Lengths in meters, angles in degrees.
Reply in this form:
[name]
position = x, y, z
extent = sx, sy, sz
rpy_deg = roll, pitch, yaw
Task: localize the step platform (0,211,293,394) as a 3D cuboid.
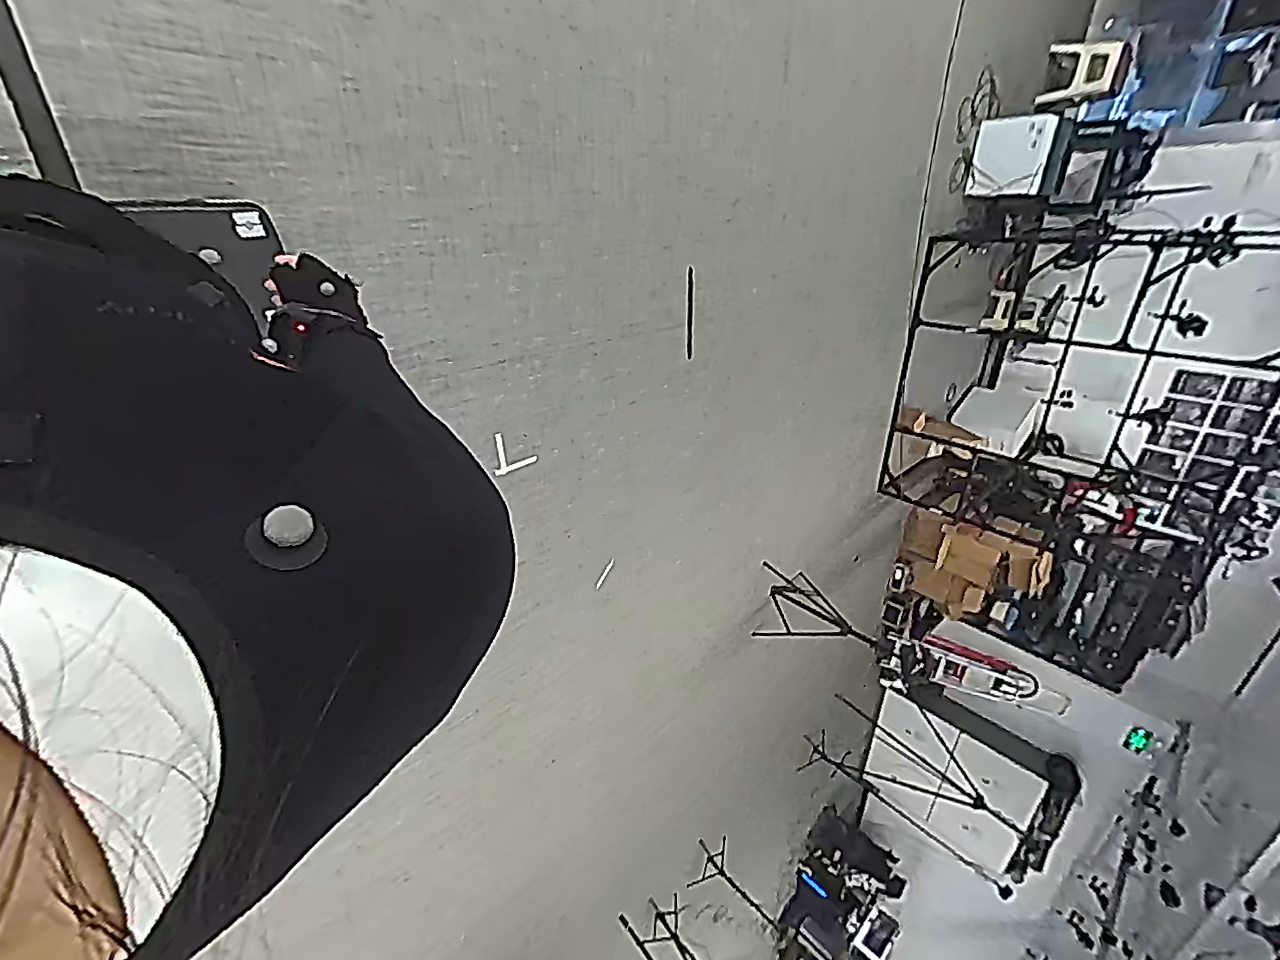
[step platform]
position = -1.090, -0.358, 1.057
extent = 0.684, 0.204, 0.286
rpy_deg = -25, 126, -38
